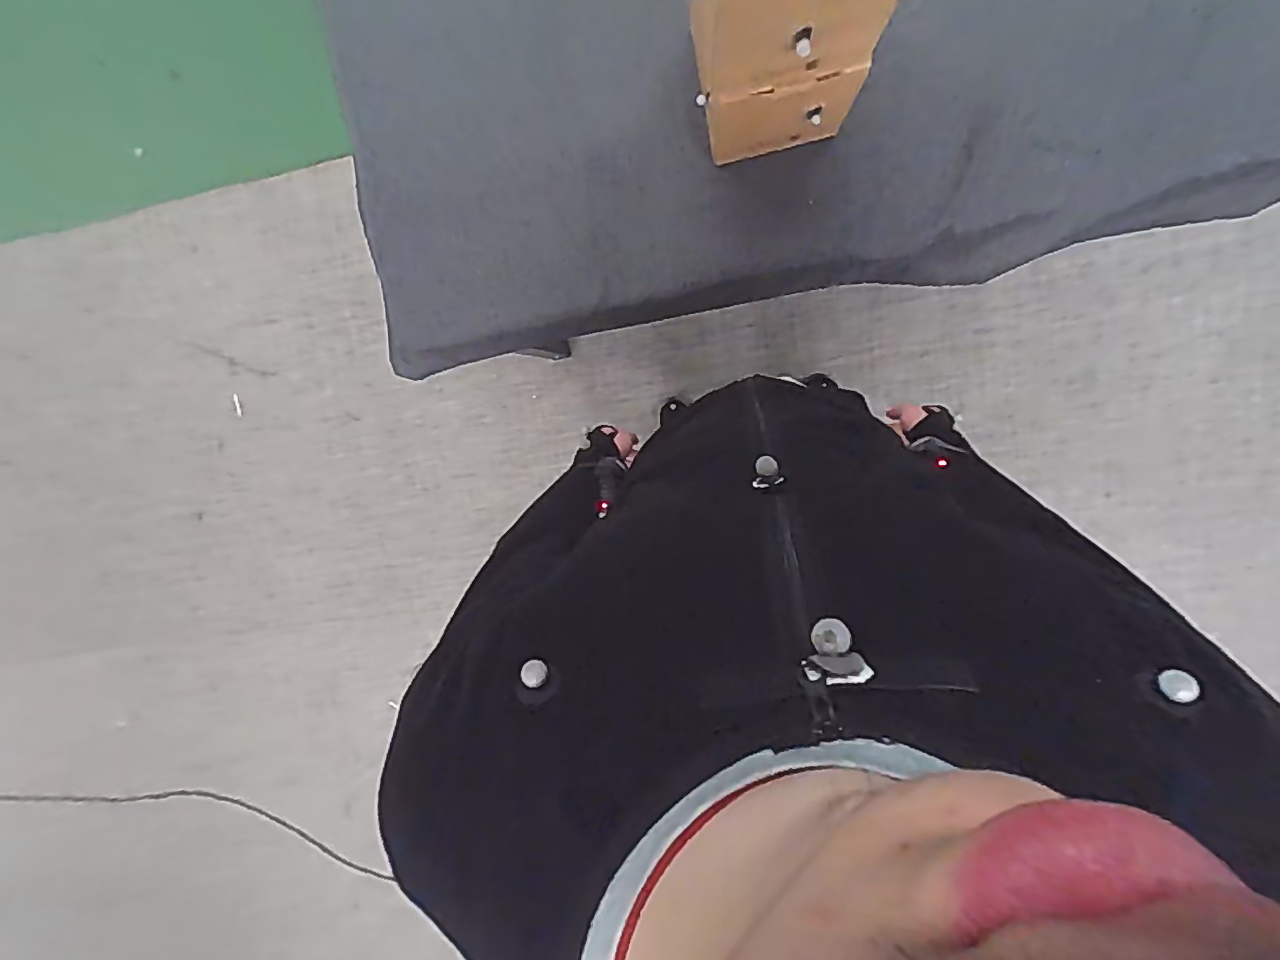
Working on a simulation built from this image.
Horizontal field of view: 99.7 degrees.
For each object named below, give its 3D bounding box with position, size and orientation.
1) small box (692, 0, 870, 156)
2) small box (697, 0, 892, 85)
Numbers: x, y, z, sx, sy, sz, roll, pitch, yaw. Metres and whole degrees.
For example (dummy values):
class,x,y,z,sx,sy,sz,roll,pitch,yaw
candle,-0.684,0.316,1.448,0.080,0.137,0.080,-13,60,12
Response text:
class,x,y,z,sx,sy,sz,roll,pitch,yaw
small box,0.156,-0.516,0.642,0.168,0.176,0.179,-10,98,7
small box,0.136,-0.491,0.481,0.168,0.176,0.179,-9,100,6
